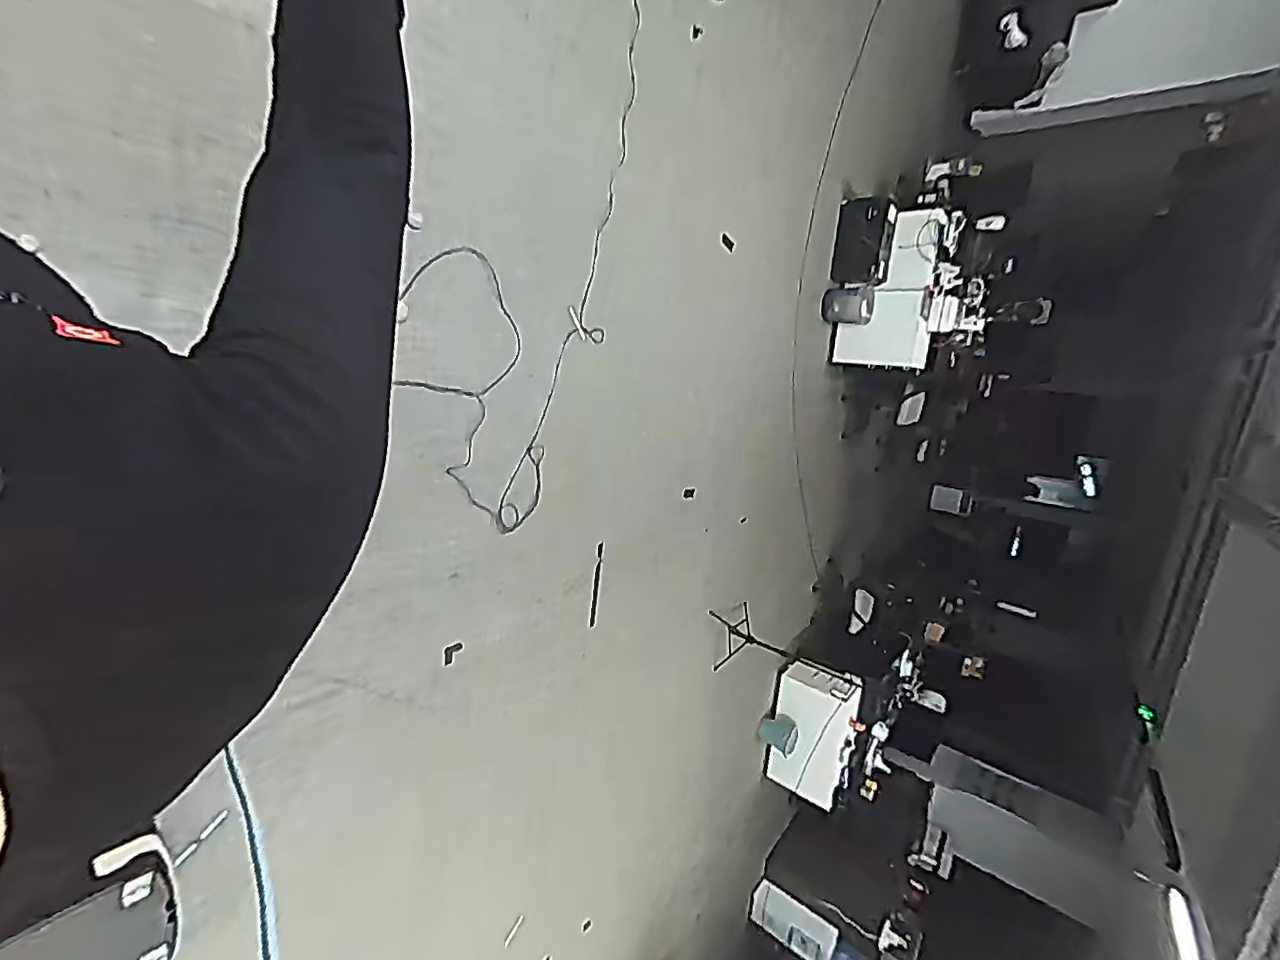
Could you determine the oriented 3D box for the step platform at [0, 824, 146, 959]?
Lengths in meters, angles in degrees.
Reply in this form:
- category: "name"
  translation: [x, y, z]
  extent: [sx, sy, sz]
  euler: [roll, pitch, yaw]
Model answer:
- category: "step platform"
  translation: [-1.336, 0.961, 0.957]
  extent: [0.684, 0.204, 0.286]
  euler: [-11, 110, -50]
